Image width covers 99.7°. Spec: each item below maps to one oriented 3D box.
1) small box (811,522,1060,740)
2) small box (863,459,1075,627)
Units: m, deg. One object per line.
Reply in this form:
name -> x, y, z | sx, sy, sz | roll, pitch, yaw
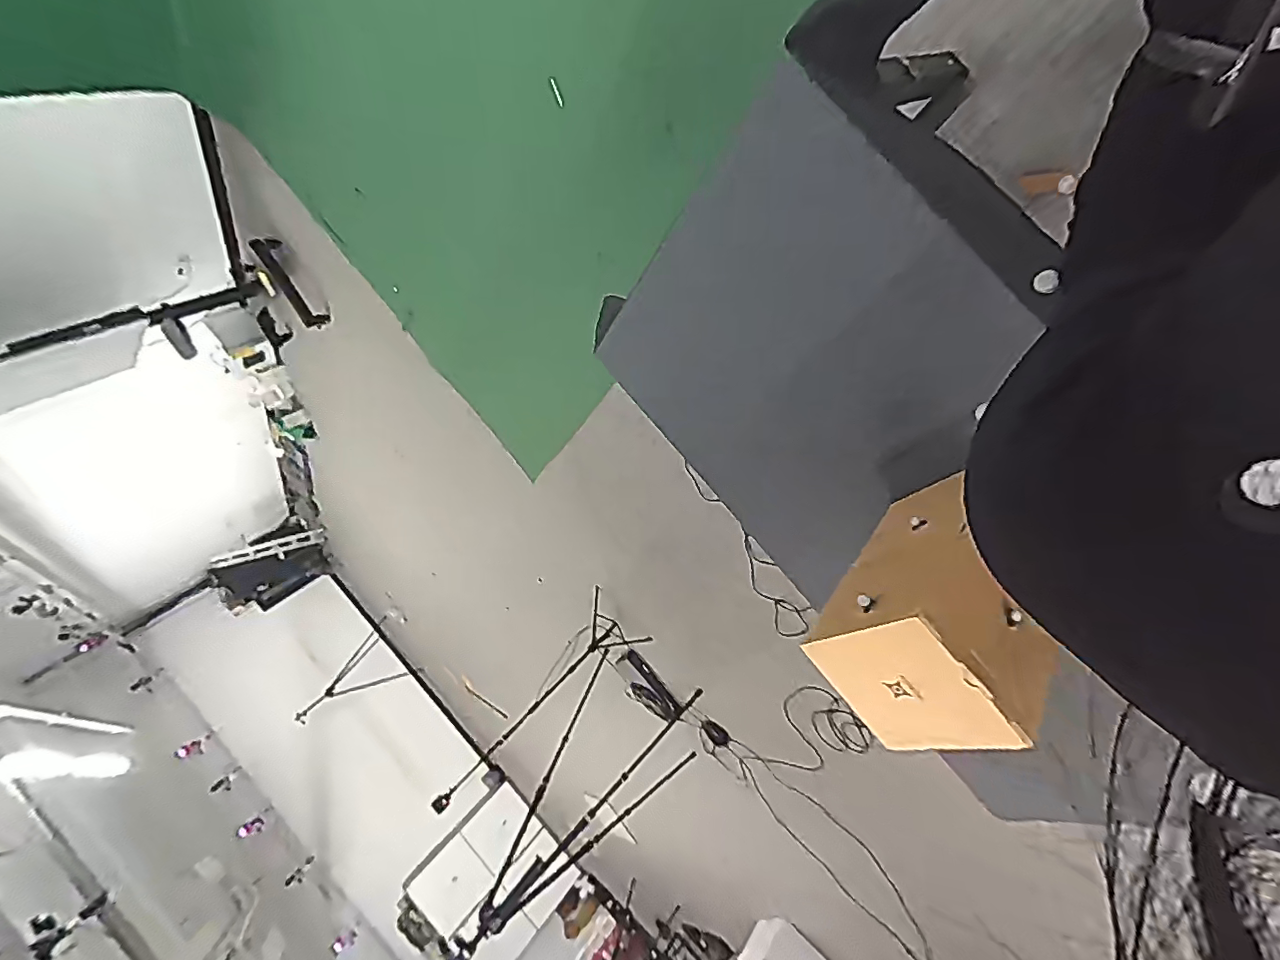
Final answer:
small box -> 0.347, 0.179, 0.640 | 0.168, 0.176, 0.179 | 50, 143, 3
small box -> 0.450, 0.099, 0.737 | 0.168, 0.176, 0.179 | 49, 144, 3
